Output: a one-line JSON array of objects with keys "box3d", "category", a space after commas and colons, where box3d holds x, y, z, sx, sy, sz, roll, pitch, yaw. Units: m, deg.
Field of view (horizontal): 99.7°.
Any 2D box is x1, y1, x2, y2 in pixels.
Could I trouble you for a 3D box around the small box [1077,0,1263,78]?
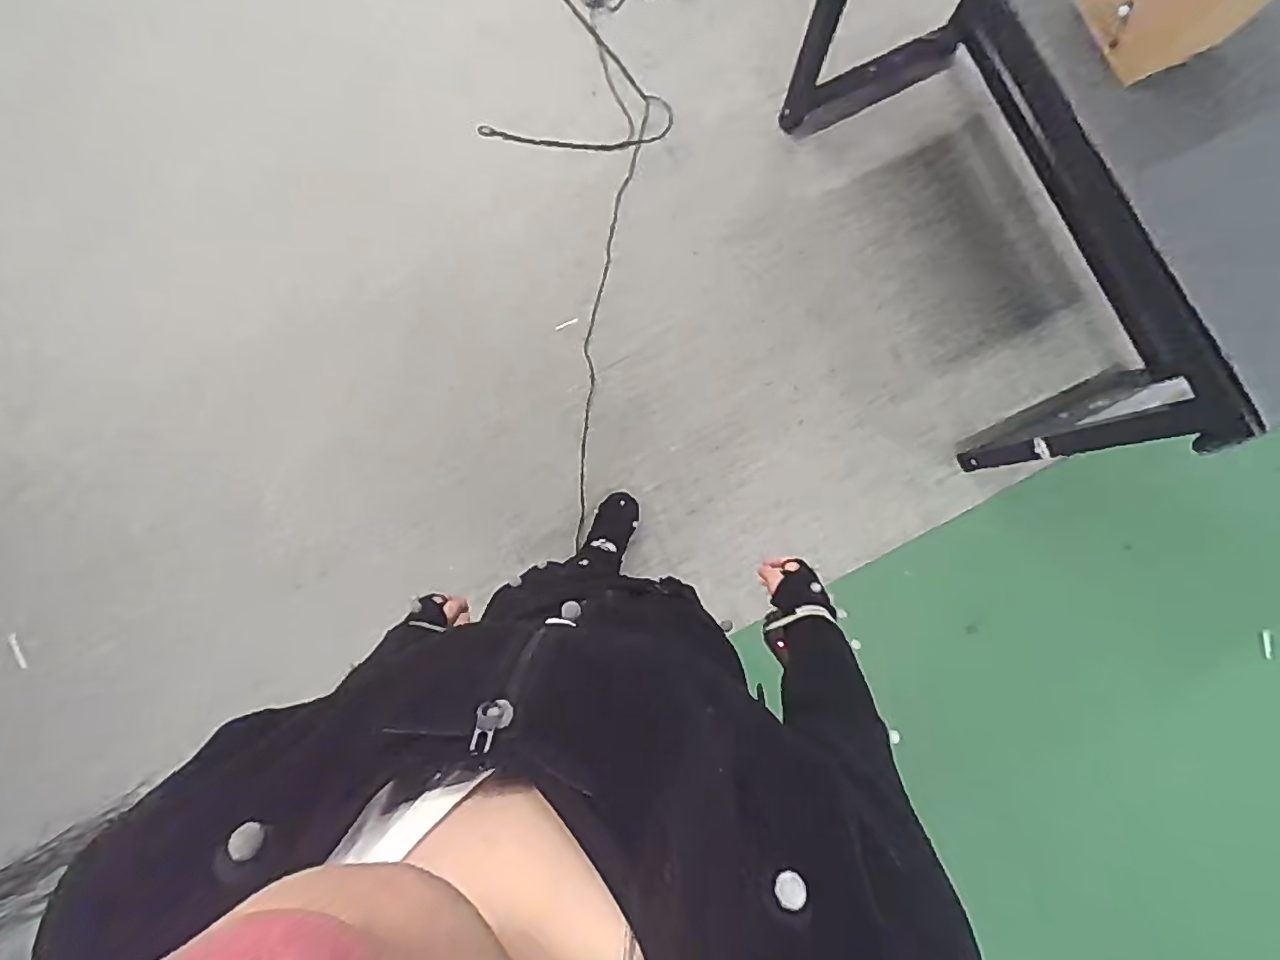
[{"box3d": [0.780, -0.722, 0.754, 0.179, 0.176, 0.168, -25, 85, -2], "category": "small box"}]
